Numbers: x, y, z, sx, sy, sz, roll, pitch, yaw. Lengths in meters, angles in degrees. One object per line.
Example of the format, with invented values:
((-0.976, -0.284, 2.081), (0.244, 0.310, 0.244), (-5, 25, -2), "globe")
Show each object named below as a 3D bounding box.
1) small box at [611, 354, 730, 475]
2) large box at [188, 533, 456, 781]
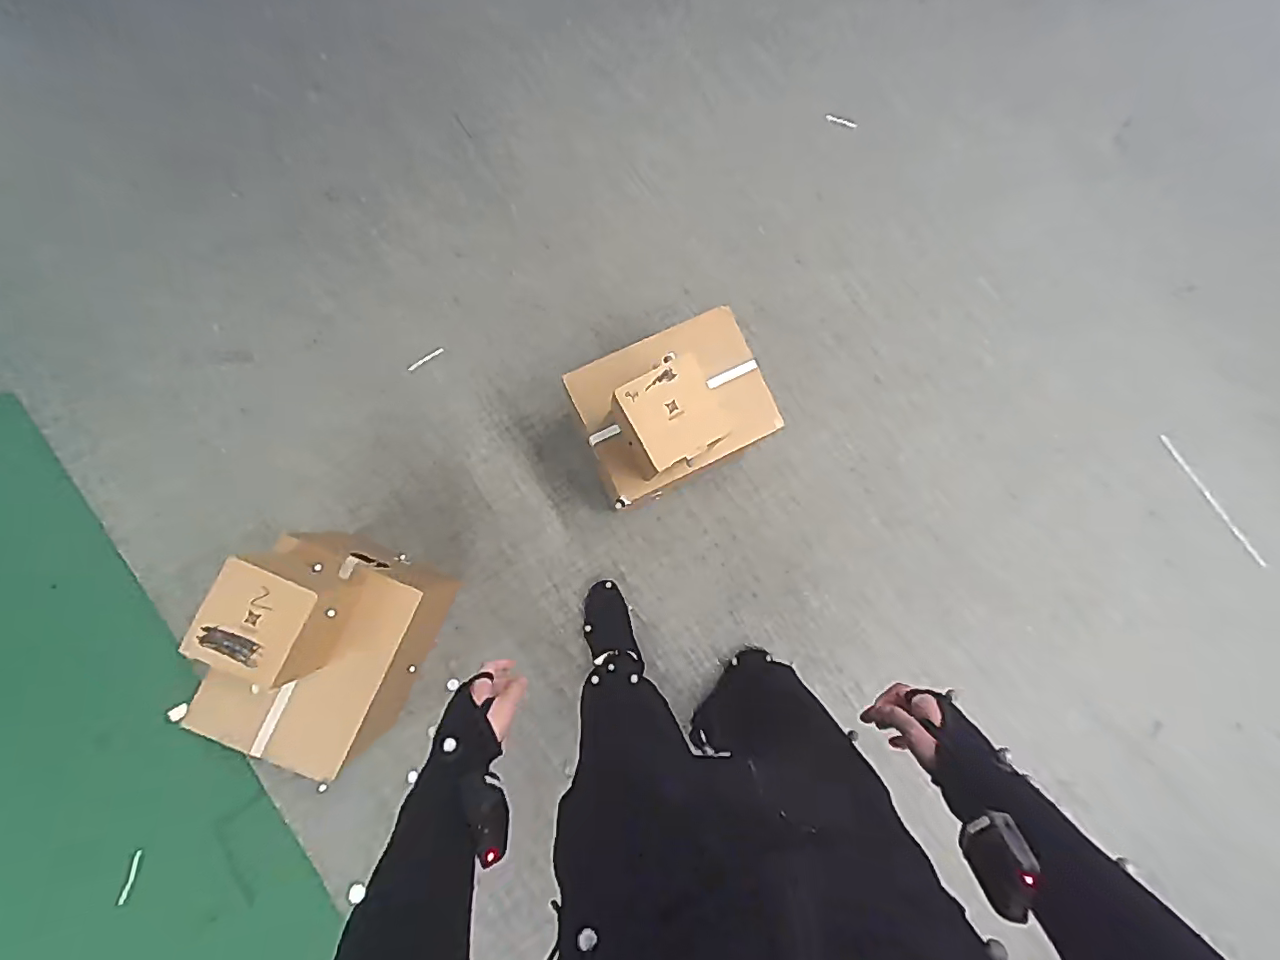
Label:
((0.053, -0.119, 1.075), (0.168, 0.176, 0.179), (-28, 88, -8), "small box")
((-0.665, 0.356, 1.208), (0.320, 0.320, 0.408), (23, 83, -1), "large box")
